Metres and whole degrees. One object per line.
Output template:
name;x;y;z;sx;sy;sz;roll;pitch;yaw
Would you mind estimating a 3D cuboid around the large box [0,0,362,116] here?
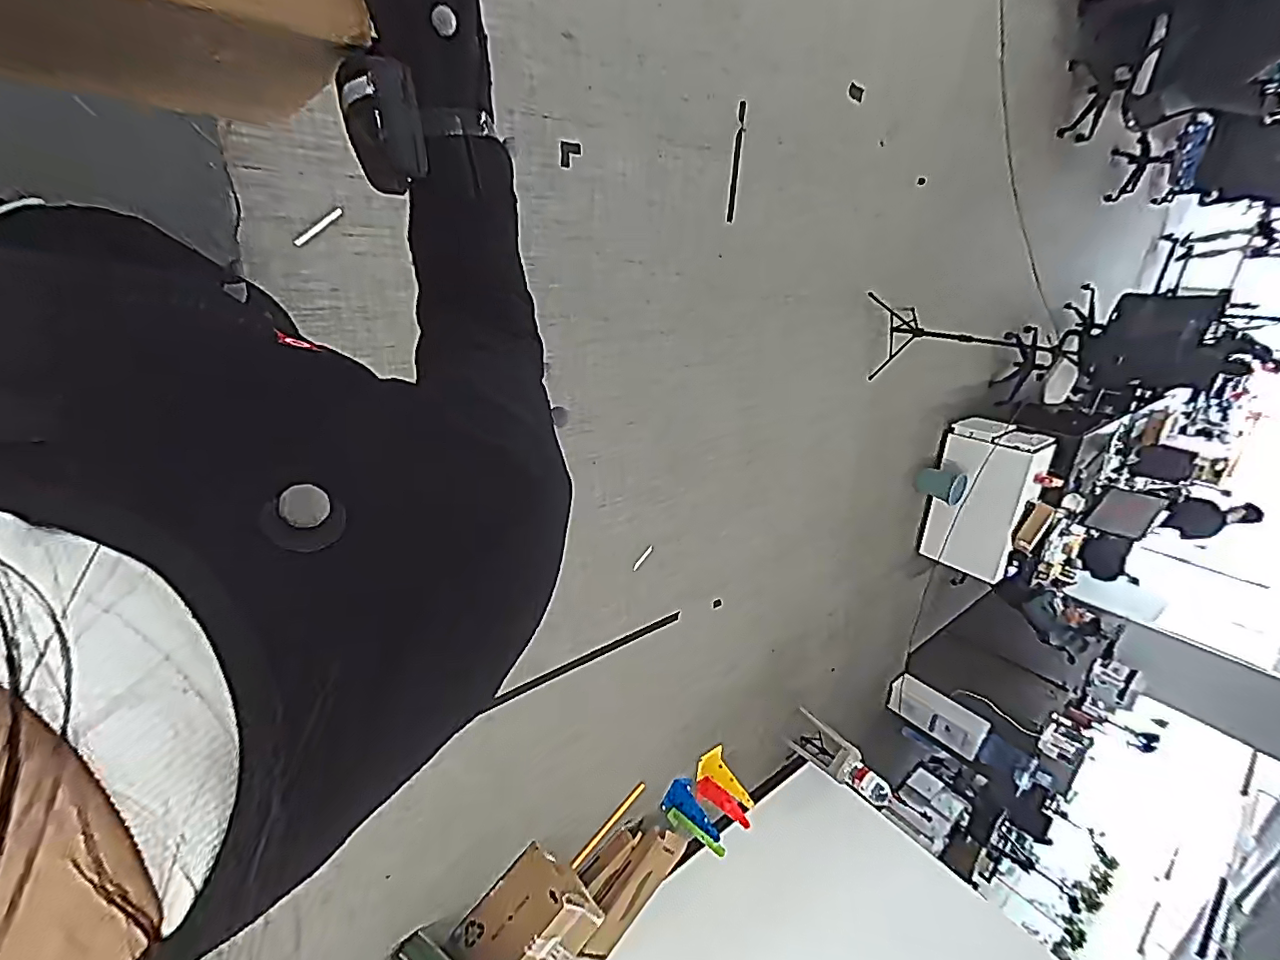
large box;-0.405;-0.396;0.243;0.408;0.320;0.320;-16;120;-37
